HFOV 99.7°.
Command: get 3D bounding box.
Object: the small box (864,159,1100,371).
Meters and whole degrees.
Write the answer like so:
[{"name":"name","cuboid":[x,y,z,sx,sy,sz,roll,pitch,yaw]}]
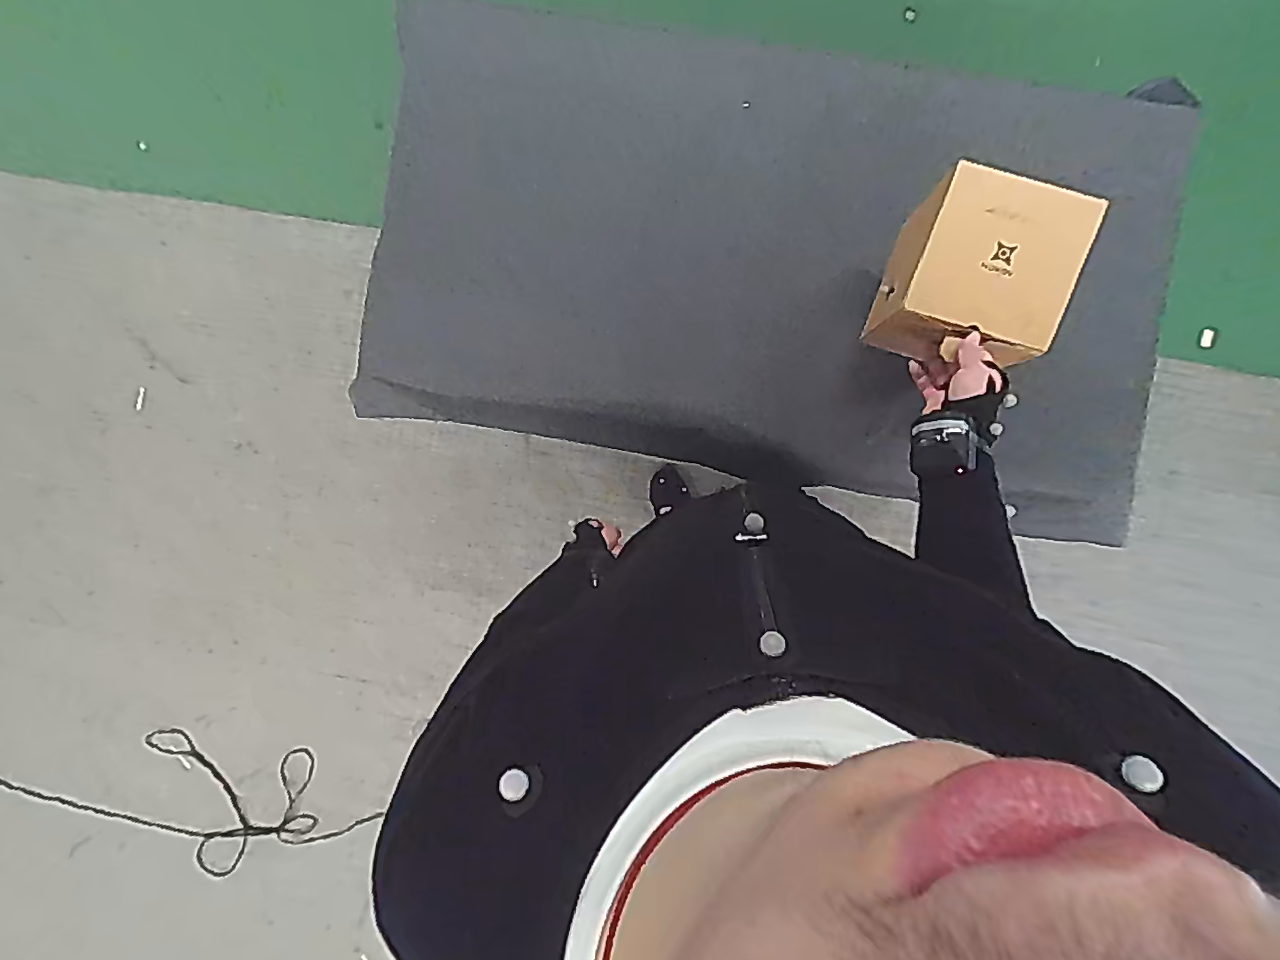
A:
[{"name":"small box","cuboid":[0.404,-0.251,0.678,0.168,0.176,0.179,20,93,4]}]
